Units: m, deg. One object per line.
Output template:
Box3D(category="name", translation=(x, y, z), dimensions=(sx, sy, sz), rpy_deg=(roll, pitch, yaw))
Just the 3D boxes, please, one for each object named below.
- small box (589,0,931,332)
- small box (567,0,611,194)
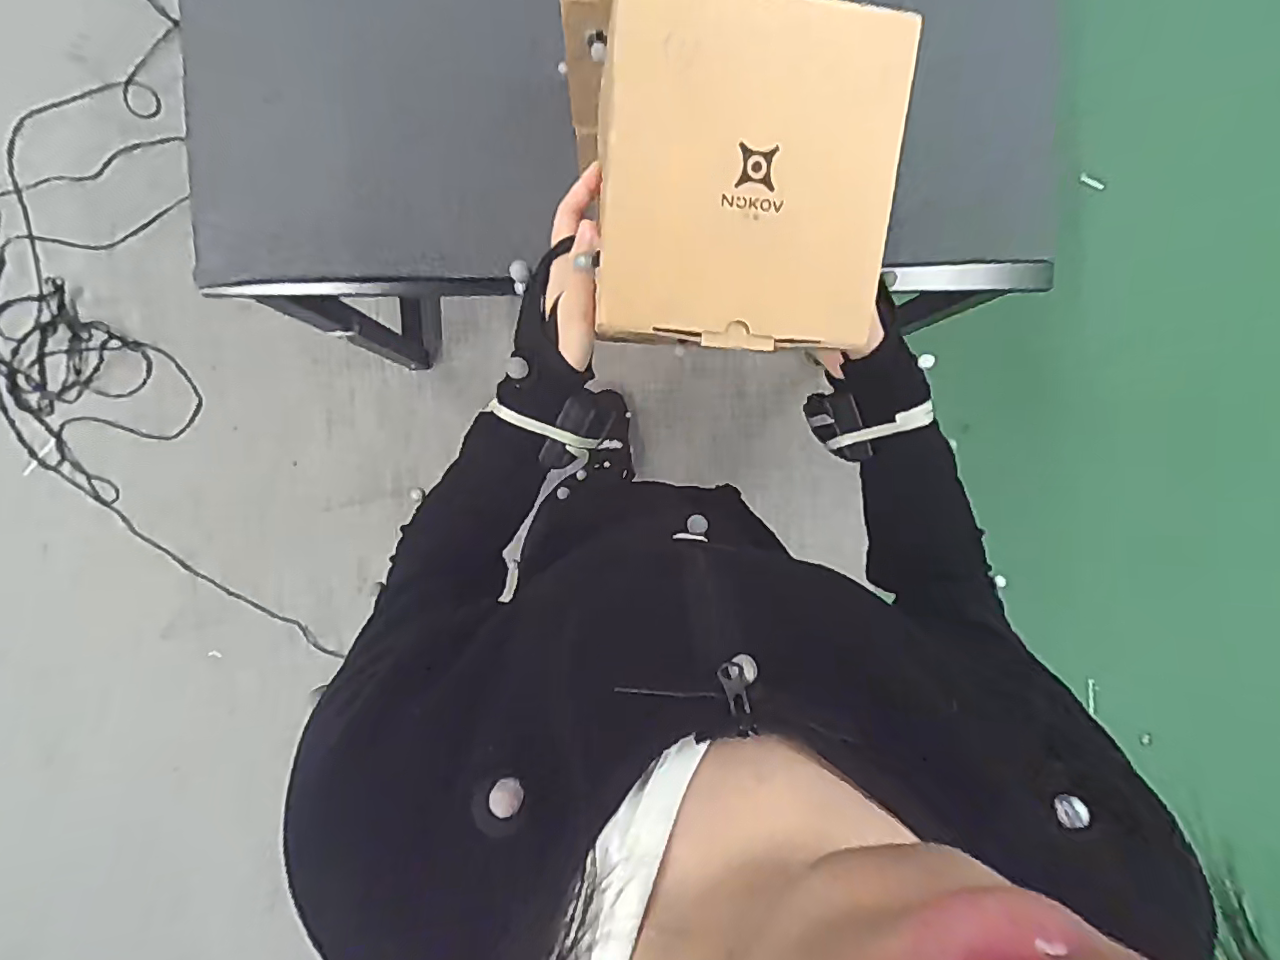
Box3D(category="small box", translation=(0.054, -0.197, 0.358), dimensions=(0.168, 0.176, 0.179), rpy_deg=(1, 103, -8))
Box3D(category="small box", translation=(0.001, -0.473, 0.657), dimensions=(0.168, 0.176, 0.179), rpy_deg=(-6, 91, -3))
